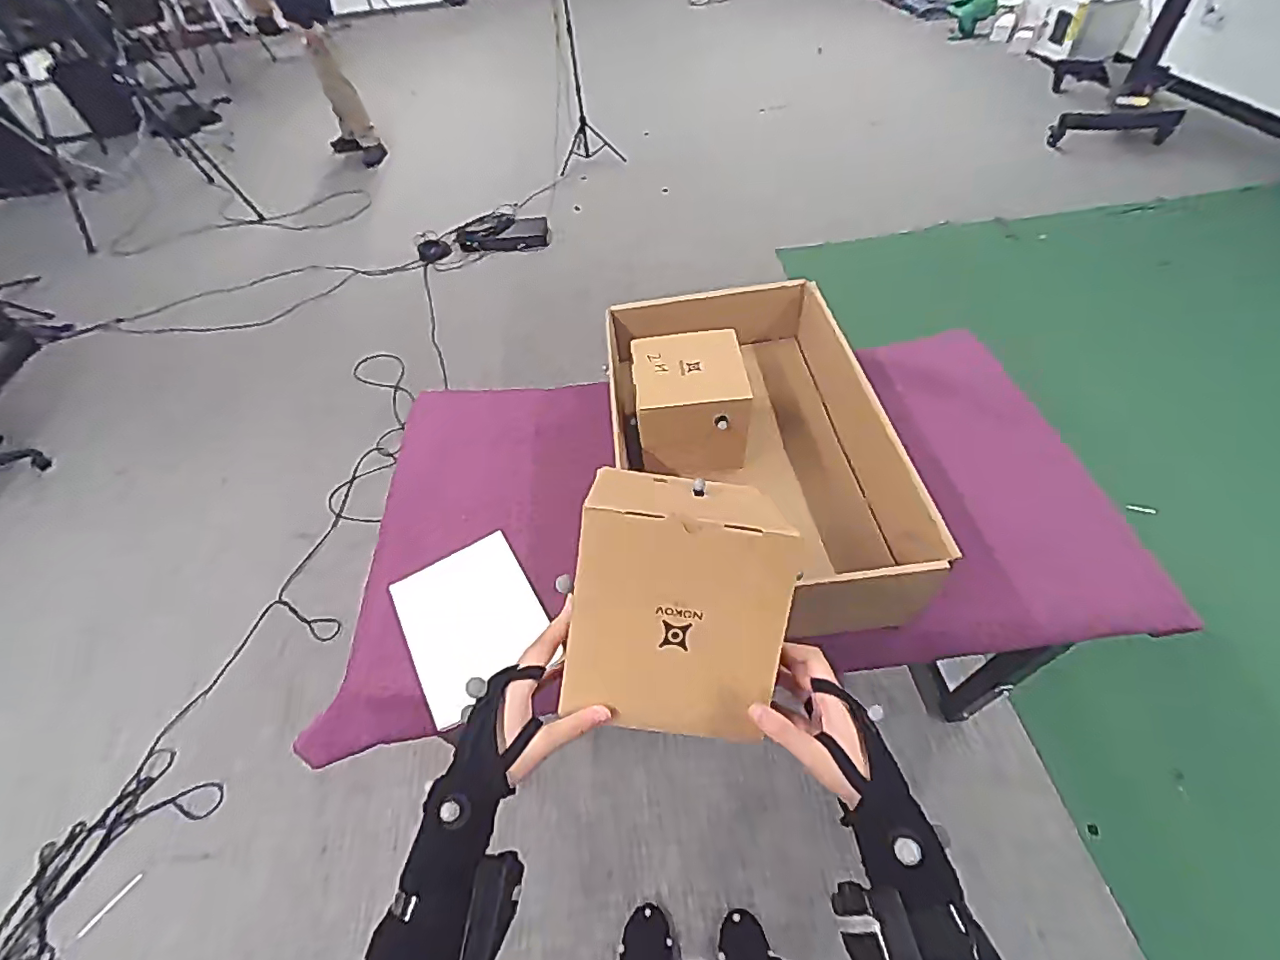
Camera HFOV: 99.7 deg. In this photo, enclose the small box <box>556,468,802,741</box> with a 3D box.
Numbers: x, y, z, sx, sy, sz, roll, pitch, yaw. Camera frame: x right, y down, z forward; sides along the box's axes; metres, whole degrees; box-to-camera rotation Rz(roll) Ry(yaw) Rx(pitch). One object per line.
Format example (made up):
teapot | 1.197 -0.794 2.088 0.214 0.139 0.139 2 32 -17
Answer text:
small box | 0.028 0.096 0.490 0.168 0.179 0.176 9 9 -1
